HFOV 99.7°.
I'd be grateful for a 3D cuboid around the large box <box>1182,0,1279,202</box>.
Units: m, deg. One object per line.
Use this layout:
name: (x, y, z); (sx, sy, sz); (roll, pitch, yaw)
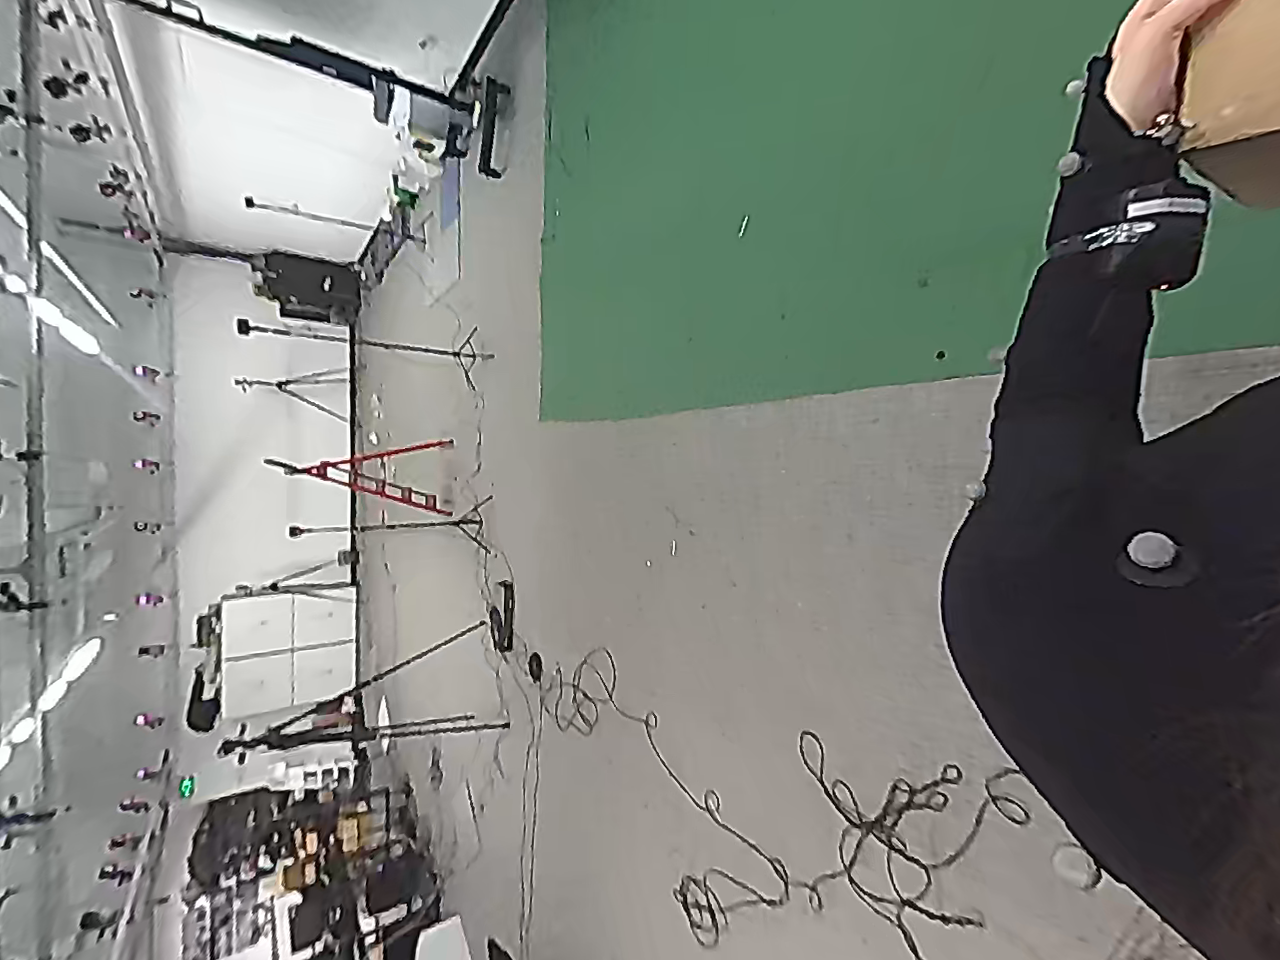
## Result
large box: (0.620, -0.381, 0.283); (0.408, 0.320, 0.320); (13, 109, 55)
